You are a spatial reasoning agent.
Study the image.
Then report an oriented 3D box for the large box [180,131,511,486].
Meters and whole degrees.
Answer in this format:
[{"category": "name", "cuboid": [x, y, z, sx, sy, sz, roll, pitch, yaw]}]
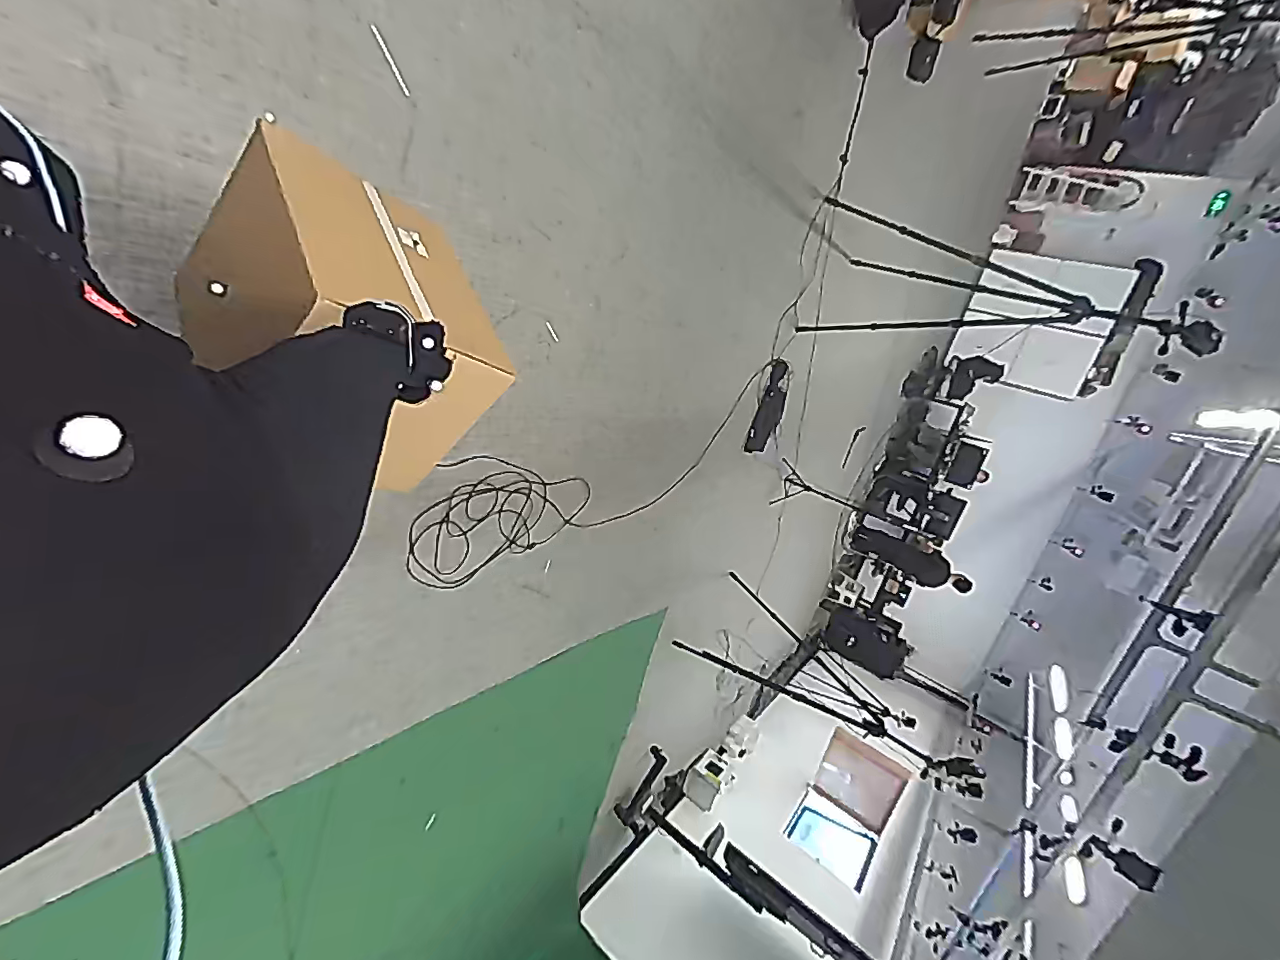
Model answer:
[{"category": "large box", "cuboid": [-0.486, -0.245, 0.882, 0.320, 0.408, 0.320, -41, 153, 20]}]
